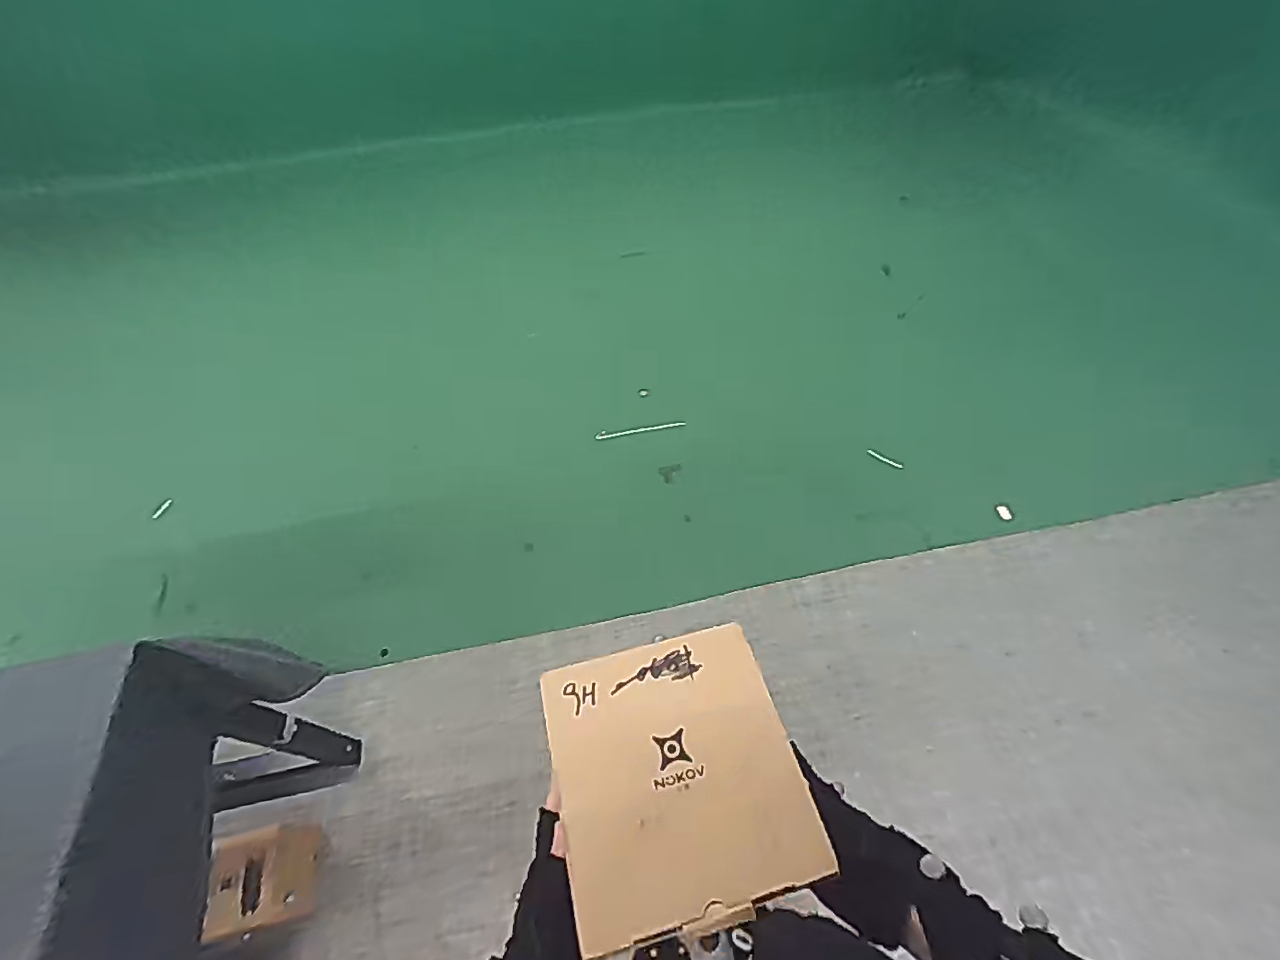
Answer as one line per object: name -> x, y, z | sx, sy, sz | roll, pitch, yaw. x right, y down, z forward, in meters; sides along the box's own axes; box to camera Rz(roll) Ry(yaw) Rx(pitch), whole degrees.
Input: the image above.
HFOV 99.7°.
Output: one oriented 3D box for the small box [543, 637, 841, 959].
small box -> 0.027, 0.254, 0.429 | 0.168, 0.176, 0.179 | -12, 53, -9
